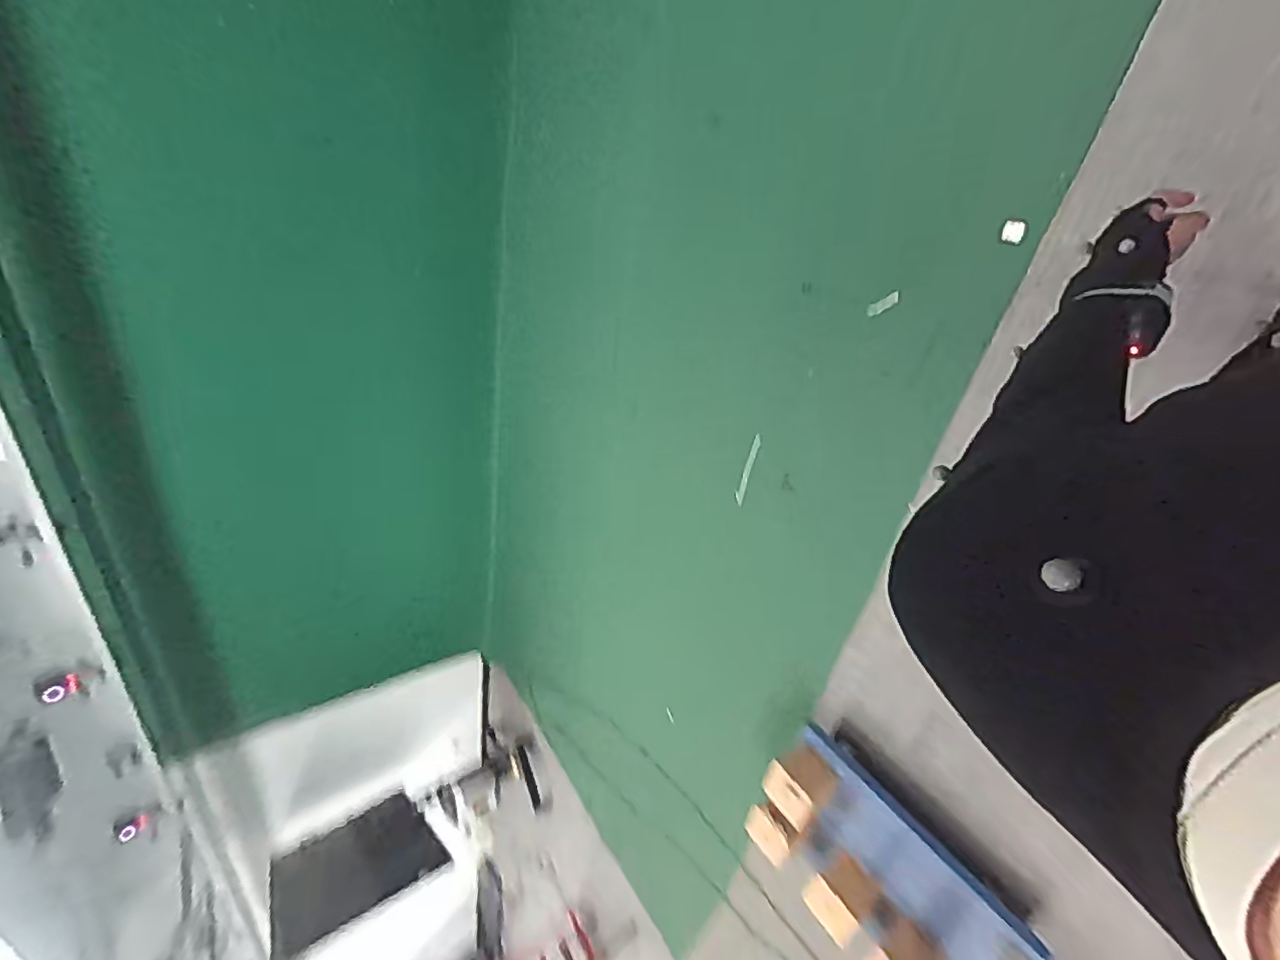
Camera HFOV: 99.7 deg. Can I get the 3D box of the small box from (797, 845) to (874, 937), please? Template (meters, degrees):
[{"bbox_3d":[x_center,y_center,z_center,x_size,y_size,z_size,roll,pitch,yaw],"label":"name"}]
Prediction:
[{"bbox_3d":[0.697,1.456,1.921,0.168,0.176,0.179,40,129,40],"label":"small box"}]

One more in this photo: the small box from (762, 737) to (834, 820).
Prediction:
[{"bbox_3d":[0.583,1.089,1.987,0.168,0.176,0.179,39,130,41],"label":"small box"}]

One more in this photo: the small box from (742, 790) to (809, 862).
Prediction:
[{"bbox_3d":[0.528,1.323,2.101,0.168,0.176,0.179,38,128,39],"label":"small box"}]
